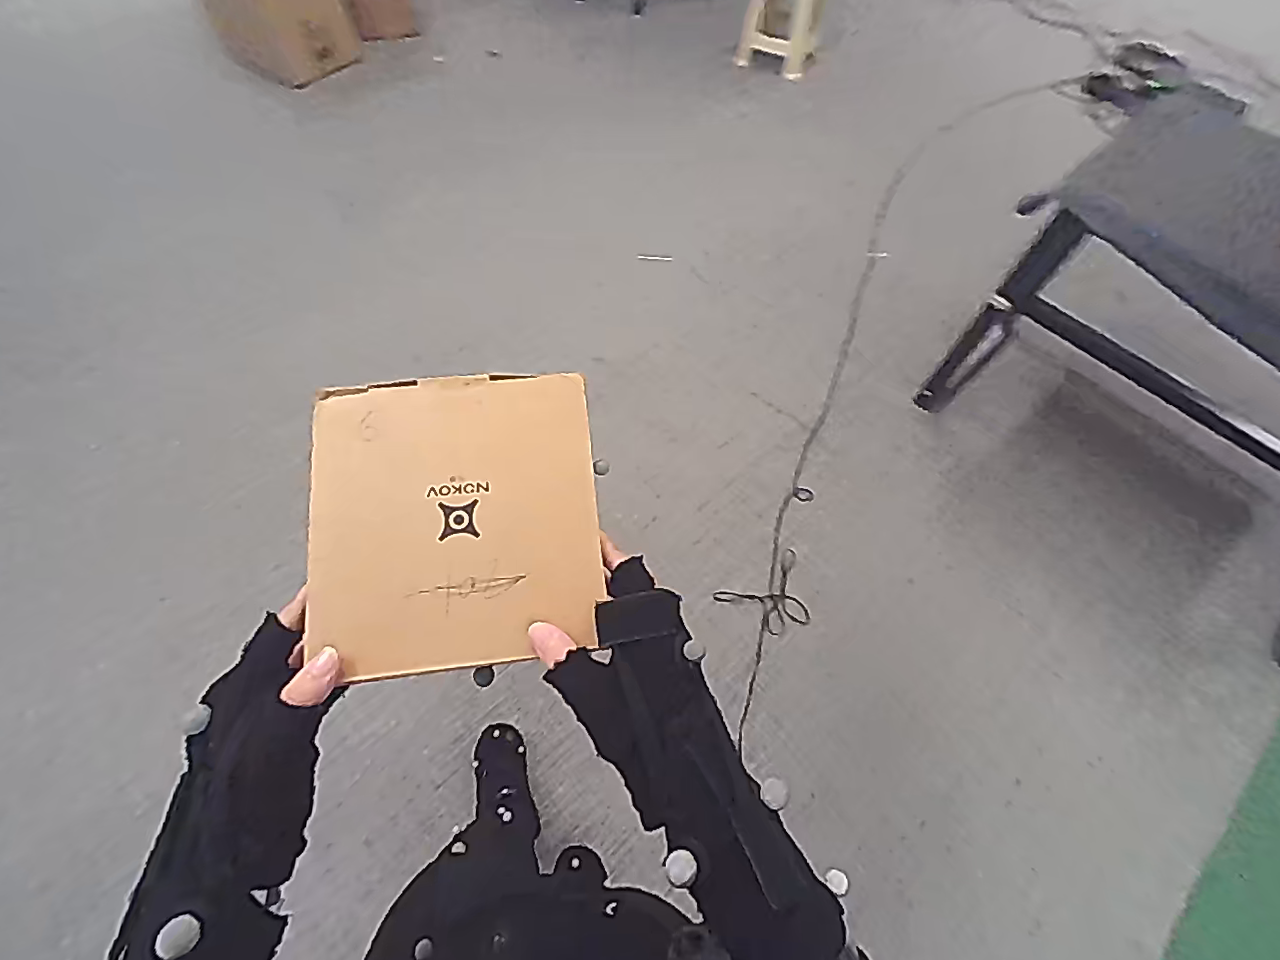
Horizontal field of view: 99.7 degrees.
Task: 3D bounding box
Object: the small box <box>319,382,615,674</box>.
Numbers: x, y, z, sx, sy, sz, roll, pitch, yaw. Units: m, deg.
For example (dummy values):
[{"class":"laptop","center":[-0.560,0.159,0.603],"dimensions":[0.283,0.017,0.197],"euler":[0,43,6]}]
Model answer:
[{"class":"small box","center":[-0.110,0.044,0.405],"dimensions":[0.168,0.176,0.179],"euler":[-4,74,-7]}]
